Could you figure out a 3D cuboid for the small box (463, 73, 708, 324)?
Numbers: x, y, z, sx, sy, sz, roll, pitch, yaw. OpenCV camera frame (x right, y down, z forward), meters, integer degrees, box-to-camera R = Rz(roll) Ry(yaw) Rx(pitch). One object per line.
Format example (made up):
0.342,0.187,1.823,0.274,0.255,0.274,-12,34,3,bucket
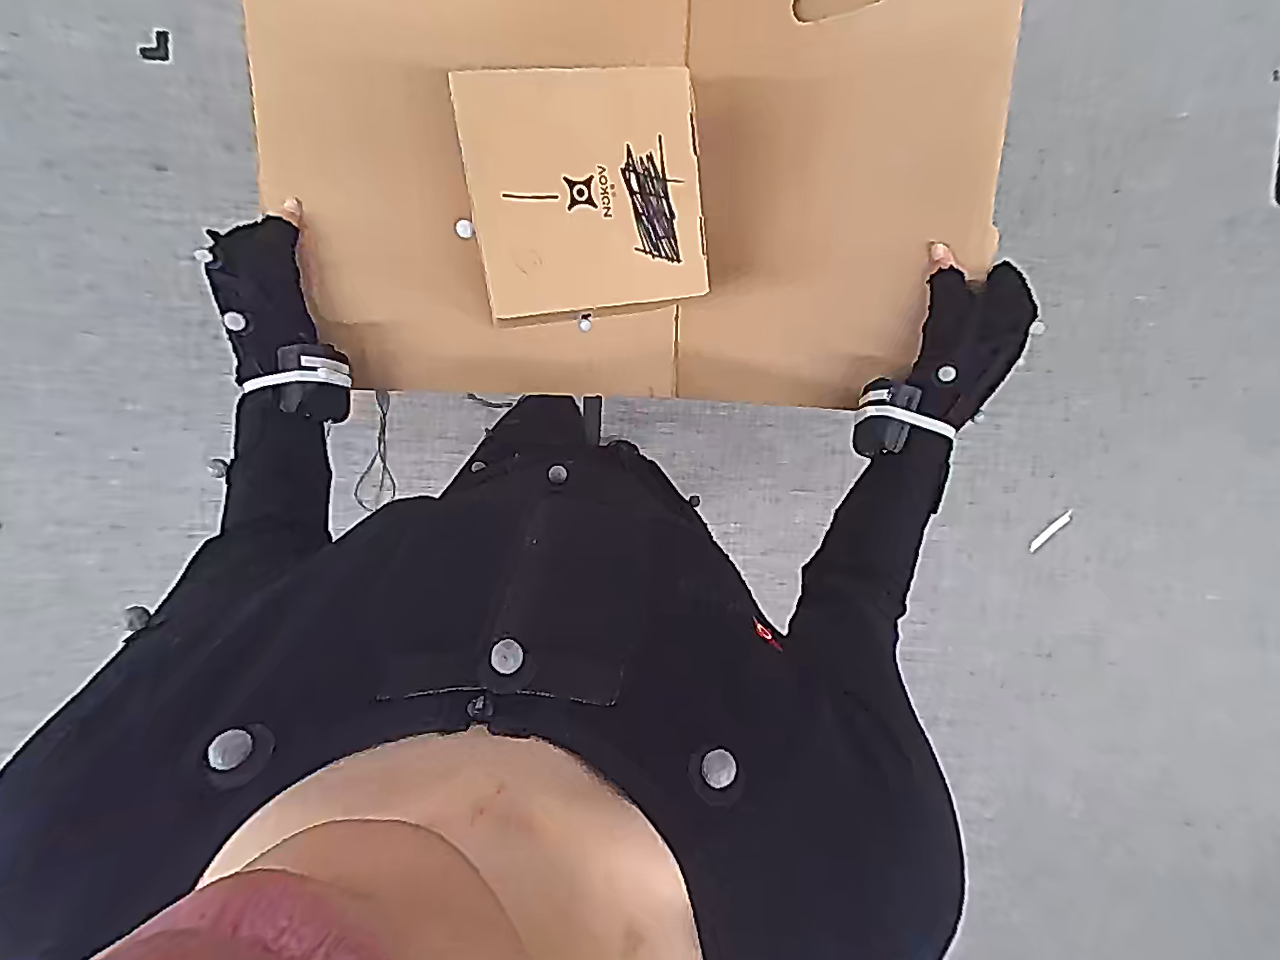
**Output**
-0.054,-0.237,0.492,0.179,0.176,0.168,-10,105,-12,small box
